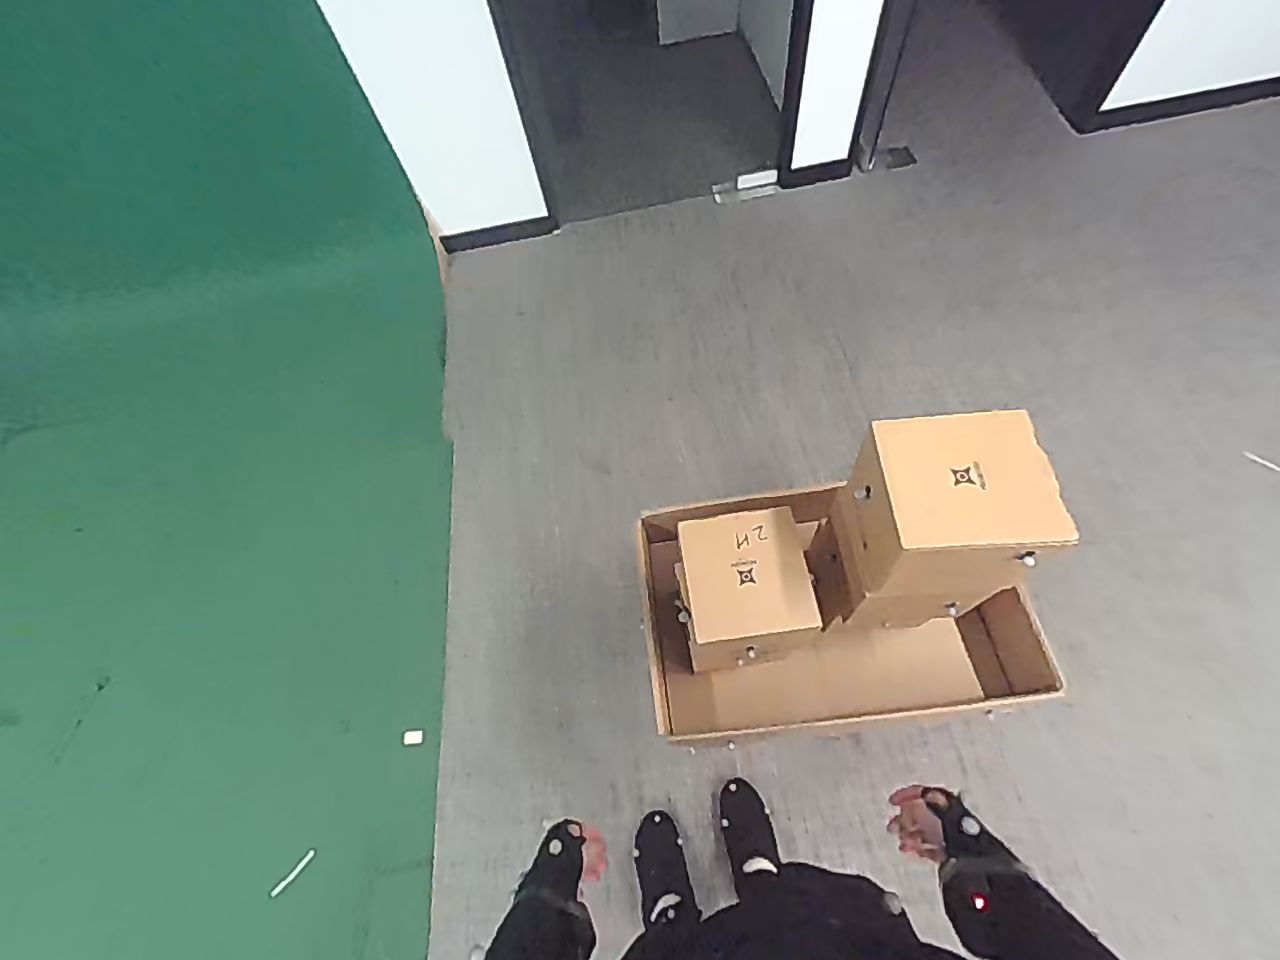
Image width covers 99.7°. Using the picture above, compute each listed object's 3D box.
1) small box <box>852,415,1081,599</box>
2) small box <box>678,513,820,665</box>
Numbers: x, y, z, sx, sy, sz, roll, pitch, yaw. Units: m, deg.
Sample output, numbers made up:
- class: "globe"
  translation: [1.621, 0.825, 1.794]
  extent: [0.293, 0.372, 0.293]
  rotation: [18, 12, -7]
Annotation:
- class: "small box"
  translation: [0.368, 0.042, 0.657]
  extent: [0.179, 0.176, 0.168]
  rotation: [-4, 61, 7]
- class: "small box"
  translation: [0.153, 0.170, 0.800]
  extent: [0.168, 0.176, 0.179]
  rotation: [-8, 62, 3]
